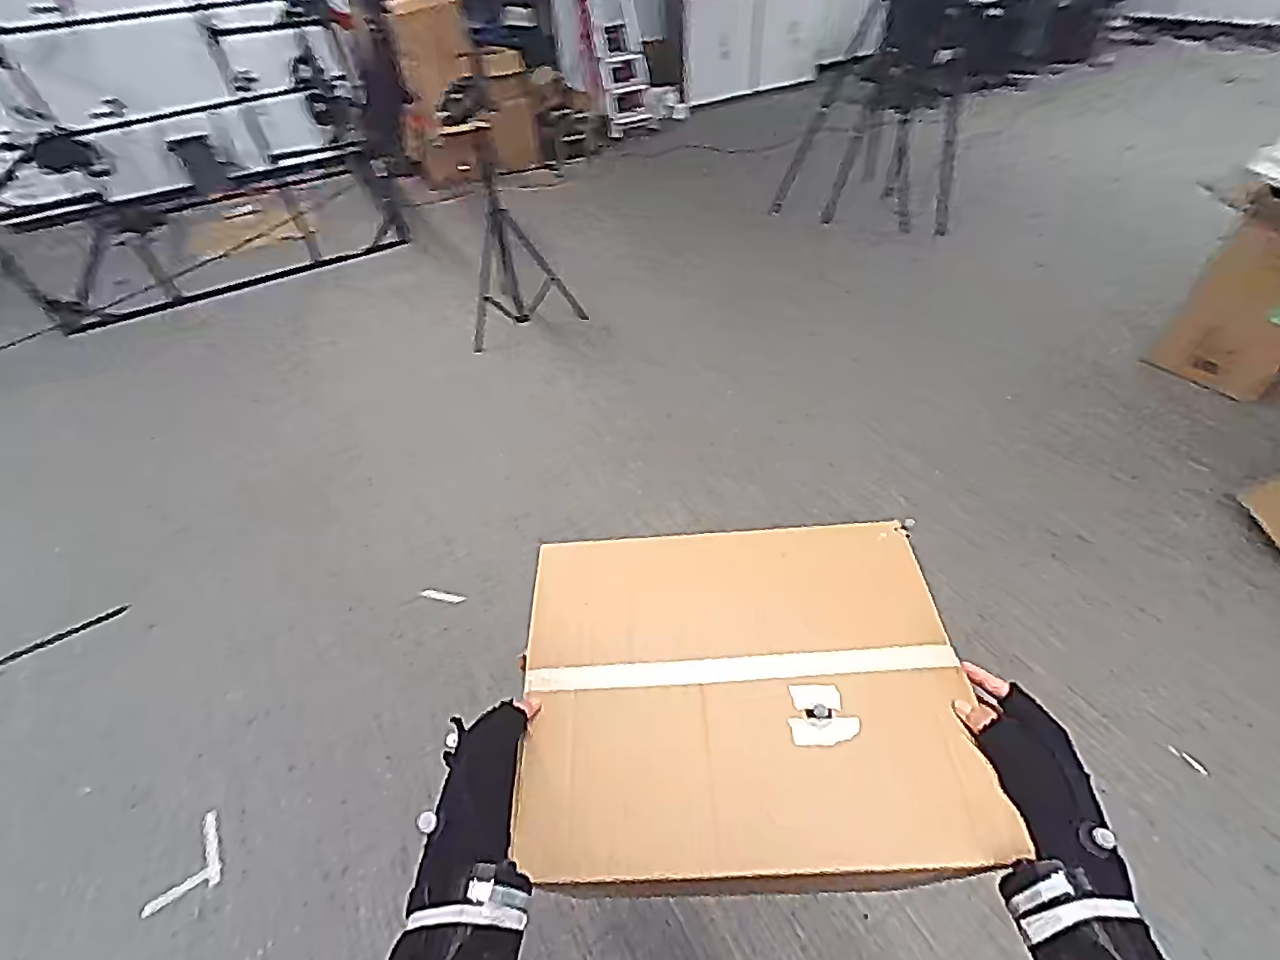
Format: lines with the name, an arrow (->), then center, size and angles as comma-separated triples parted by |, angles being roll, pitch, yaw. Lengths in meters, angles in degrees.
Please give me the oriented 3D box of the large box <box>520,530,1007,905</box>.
large box -> 0.099, 0.288, 0.641 | 0.408, 0.320, 0.320 | -5, 51, 2
